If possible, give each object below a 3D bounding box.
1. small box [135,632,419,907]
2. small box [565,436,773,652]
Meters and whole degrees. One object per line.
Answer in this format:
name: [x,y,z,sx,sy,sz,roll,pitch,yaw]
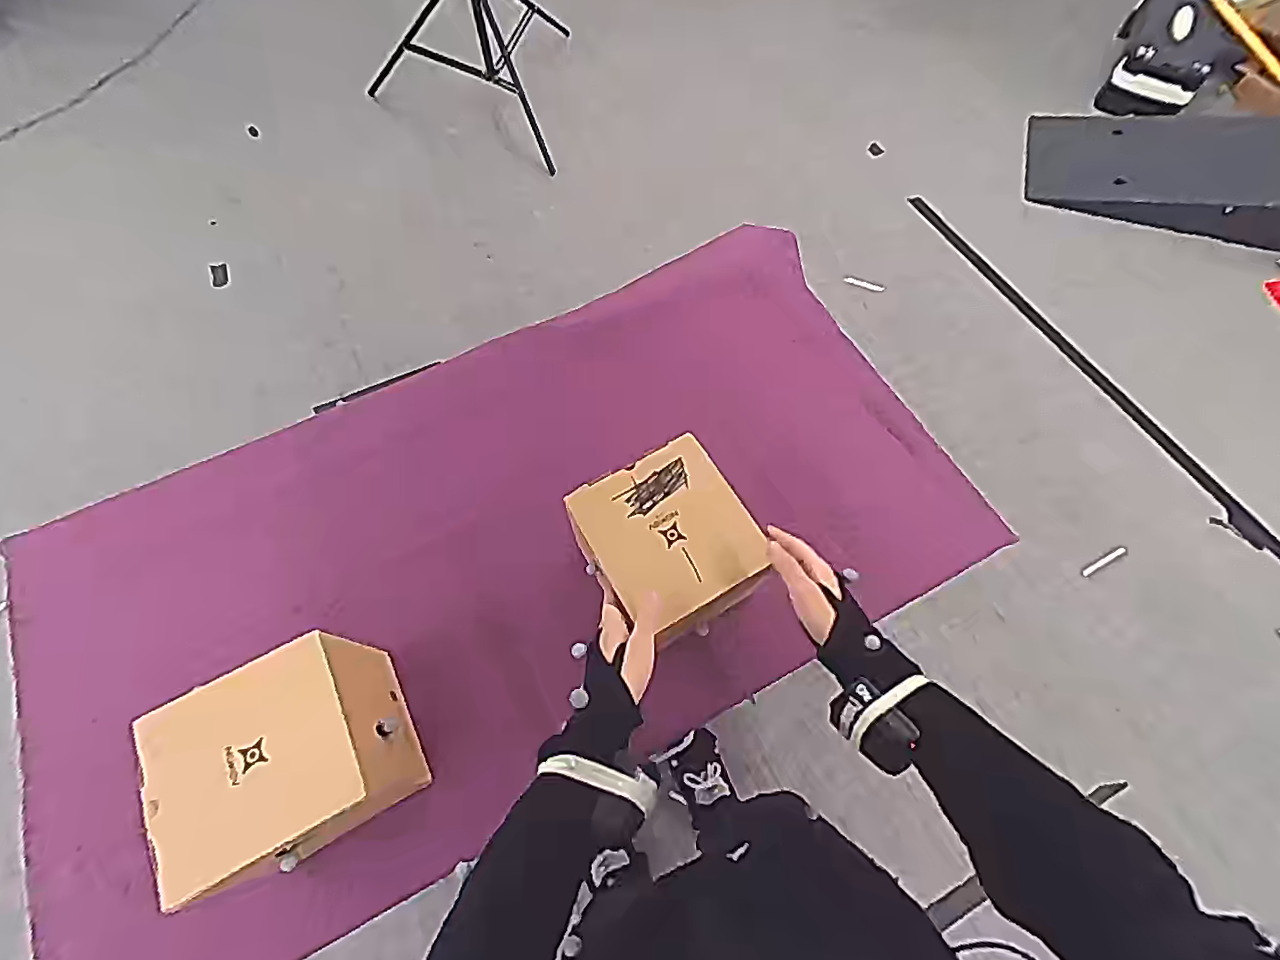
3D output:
small box: [-0.353,0.282,0.562,0.179,0.176,0.168,-27,69,-11]
small box: [0.027,0.084,0.645,0.168,0.176,0.179,-28,70,-12]
